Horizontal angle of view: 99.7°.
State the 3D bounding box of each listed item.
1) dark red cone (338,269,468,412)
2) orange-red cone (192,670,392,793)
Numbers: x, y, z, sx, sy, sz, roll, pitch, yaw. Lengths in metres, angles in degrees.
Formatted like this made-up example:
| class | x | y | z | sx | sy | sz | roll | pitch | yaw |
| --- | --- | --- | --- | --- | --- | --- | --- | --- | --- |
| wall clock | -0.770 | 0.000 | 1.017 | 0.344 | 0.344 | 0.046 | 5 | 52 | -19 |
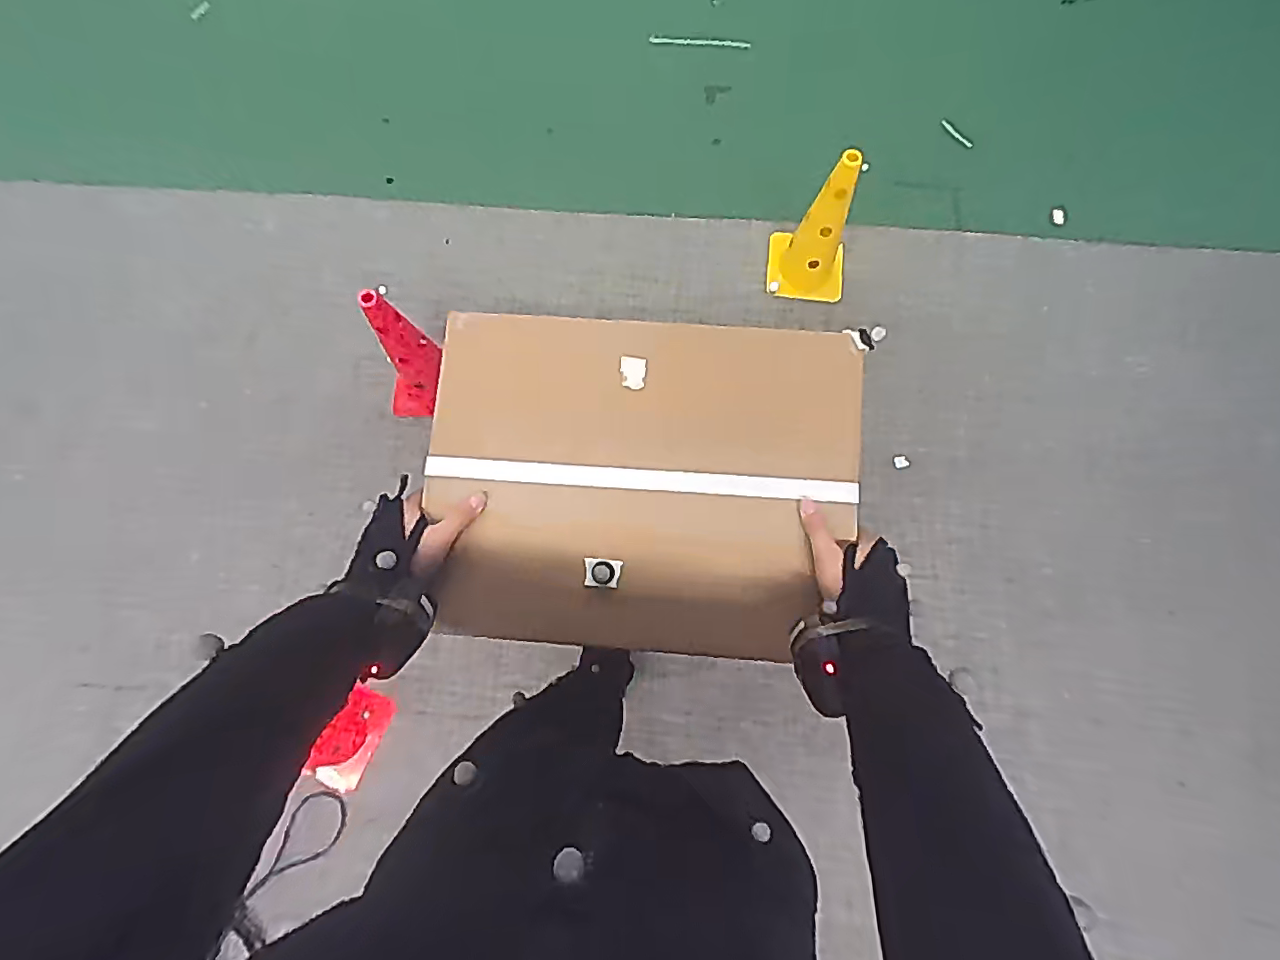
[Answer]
| class | x | y | z | sx | sy | sz | roll | pitch | yaw |
| --- | --- | --- | --- | --- | --- | --- | --- | --- | --- |
| dark red cone | -0.537 | -0.318 | 1.197 | 0.202 | 0.394 | 0.201 | -3 | 71 | 1 |
| orange-red cone | -0.661 | 0.482 | 0.991 | 0.199 | 0.360 | 0.198 | 23 | 75 | 9 |
